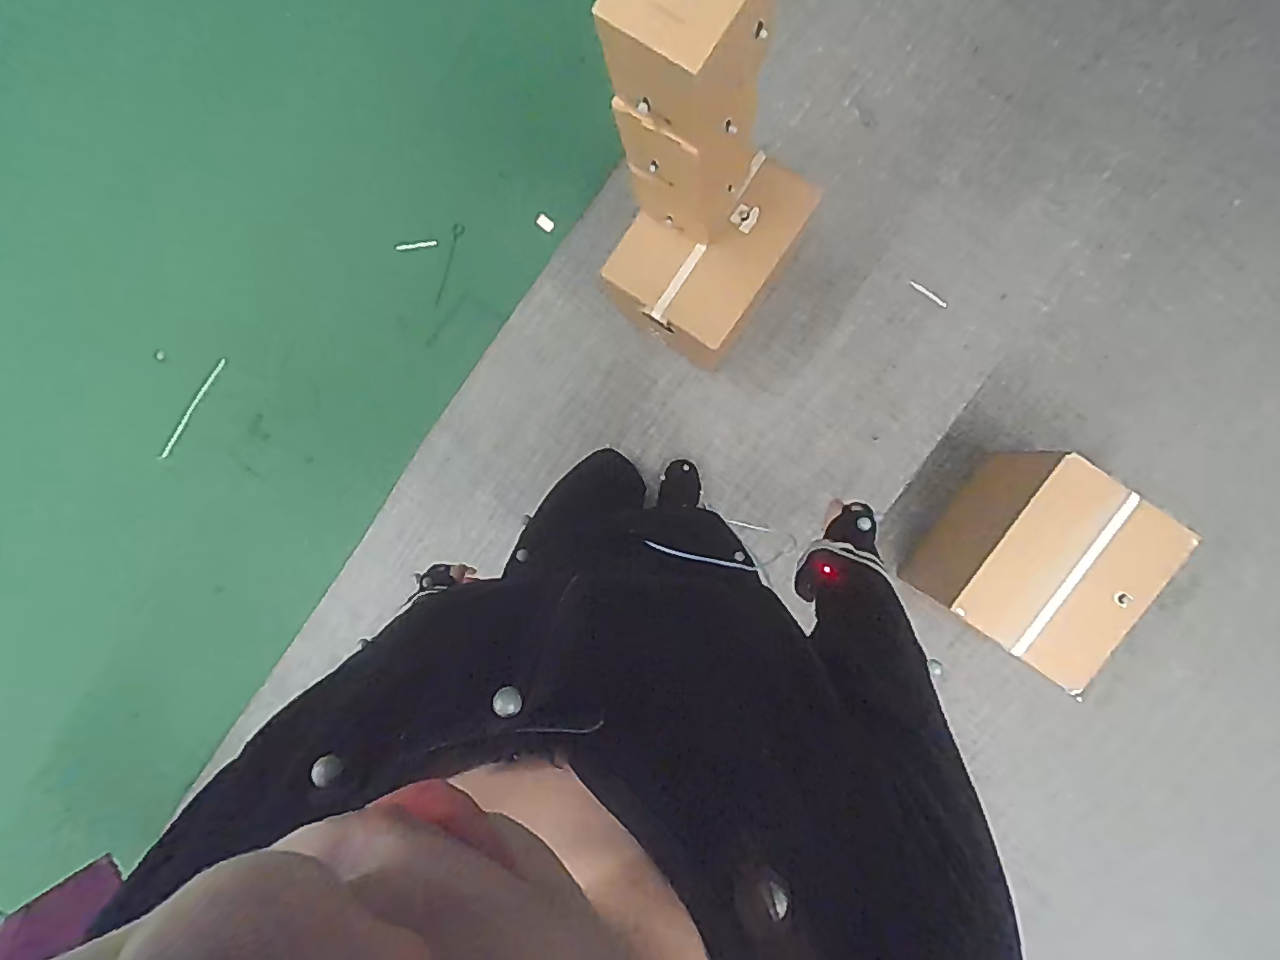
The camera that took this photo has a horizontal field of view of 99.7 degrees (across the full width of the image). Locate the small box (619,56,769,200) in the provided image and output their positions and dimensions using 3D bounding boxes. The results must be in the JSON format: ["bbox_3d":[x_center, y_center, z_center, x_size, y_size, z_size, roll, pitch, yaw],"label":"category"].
[{"bbox_3d":[0.090,-0.617,0.901,0.168,0.176,0.179,35,97,6],"label":"small box"}]

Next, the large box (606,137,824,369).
[{"bbox_3d":[0.172,-0.539,1.305,0.320,0.320,0.408,35,95,4],"label":"large box"}]

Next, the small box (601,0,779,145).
[{"bbox_3d":[0.074,-0.616,0.739,0.168,0.176,0.179,37,97,7],"label":"small box"}]
